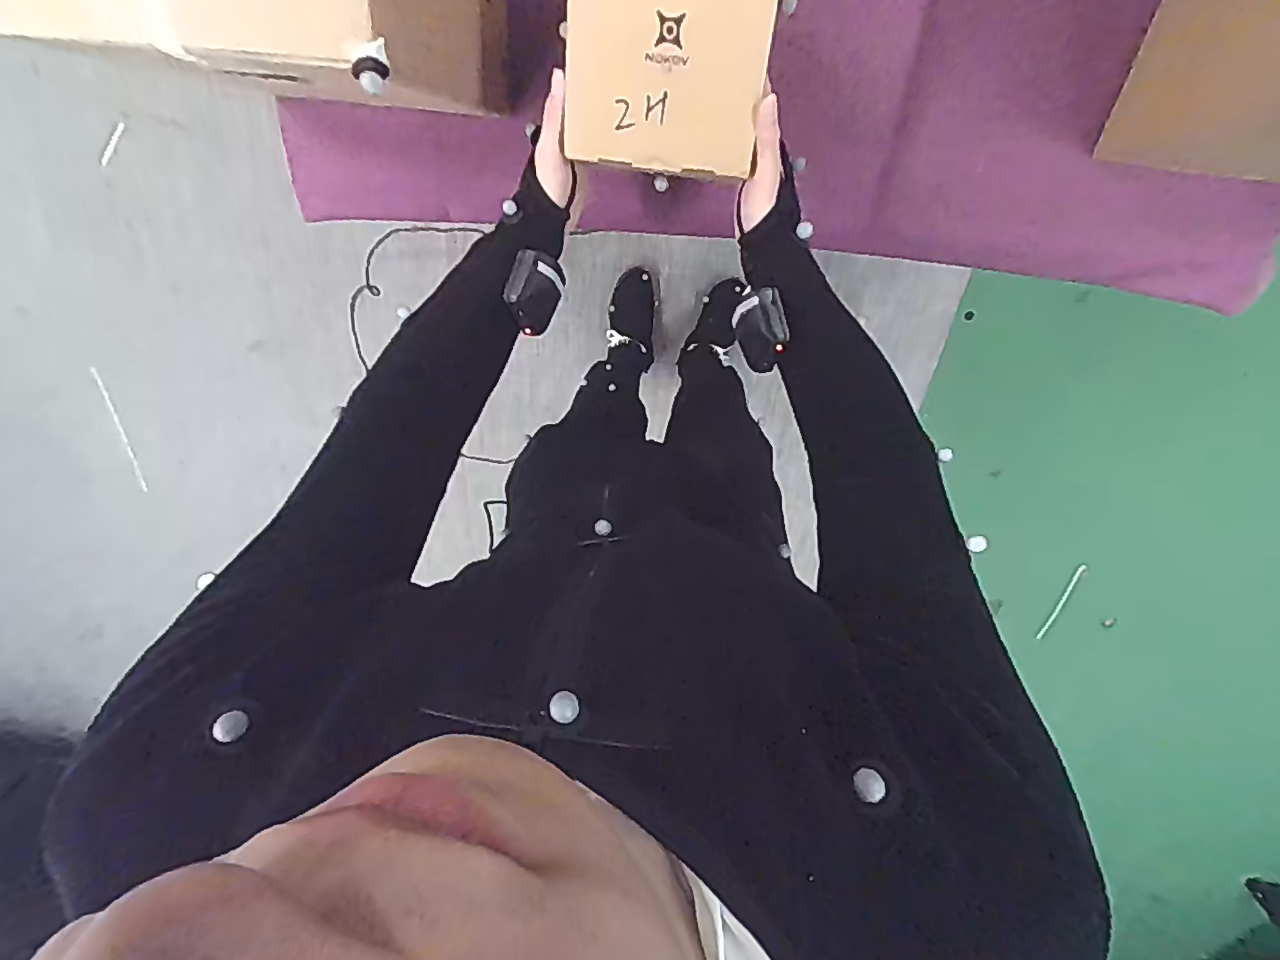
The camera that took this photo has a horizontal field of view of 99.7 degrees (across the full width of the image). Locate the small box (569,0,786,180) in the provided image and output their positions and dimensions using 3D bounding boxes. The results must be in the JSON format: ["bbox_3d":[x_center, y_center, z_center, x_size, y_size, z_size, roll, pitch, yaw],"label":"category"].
[{"bbox_3d":[0.034,-0.387,0.500,0.168,0.176,0.179,7,119,2],"label":"small box"}]

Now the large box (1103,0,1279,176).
[{"bbox_3d":[0.668,-0.448,0.379,0.320,0.320,0.408,9,119,3],"label":"large box"}]
